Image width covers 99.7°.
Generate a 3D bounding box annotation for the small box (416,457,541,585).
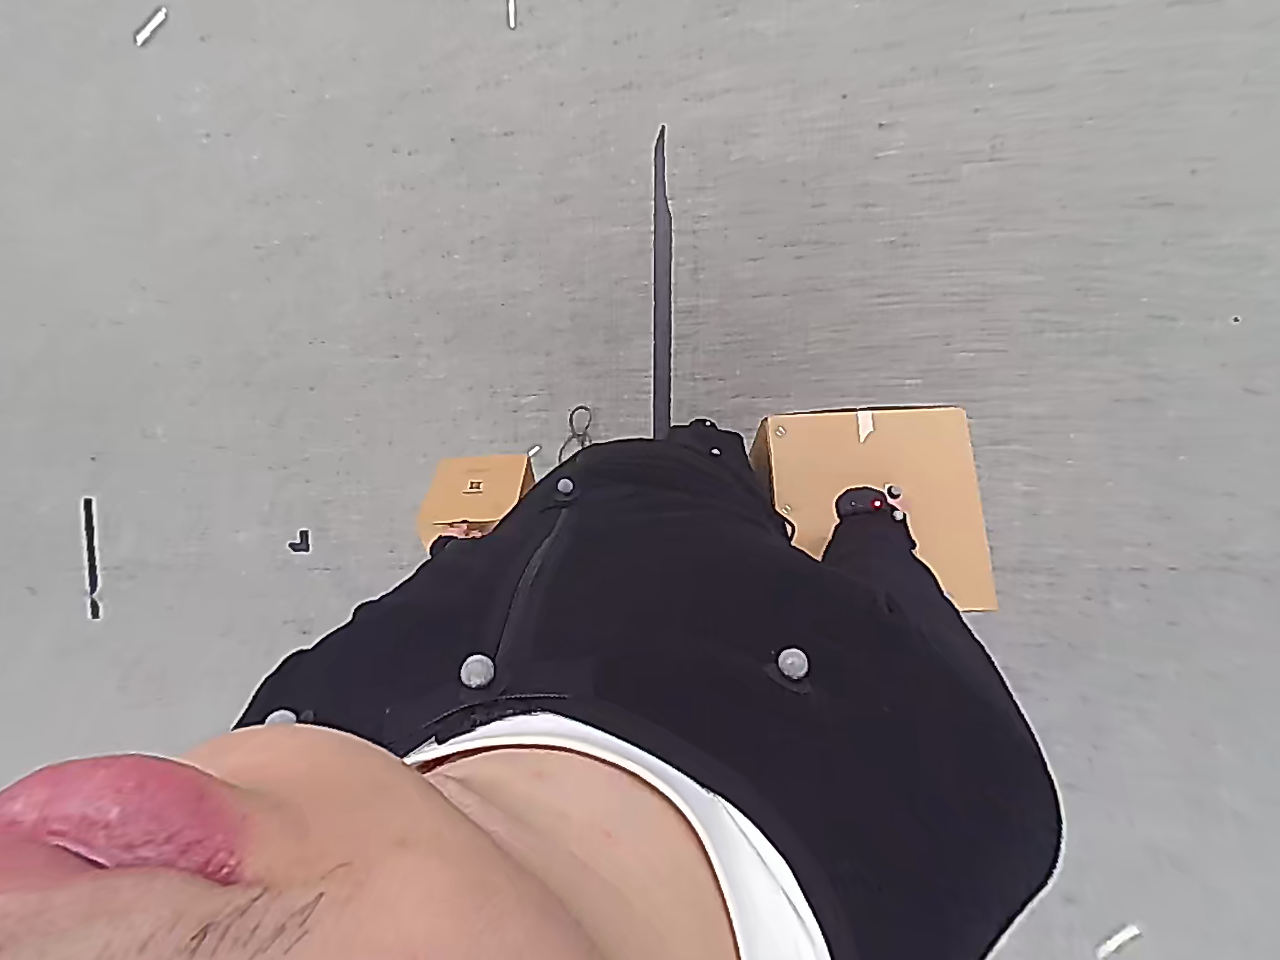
[{"bbox_3d":[-0.282,0.079,0.990,0.168,0.179,0.176,-2,130,0],"label":"small box"}]
